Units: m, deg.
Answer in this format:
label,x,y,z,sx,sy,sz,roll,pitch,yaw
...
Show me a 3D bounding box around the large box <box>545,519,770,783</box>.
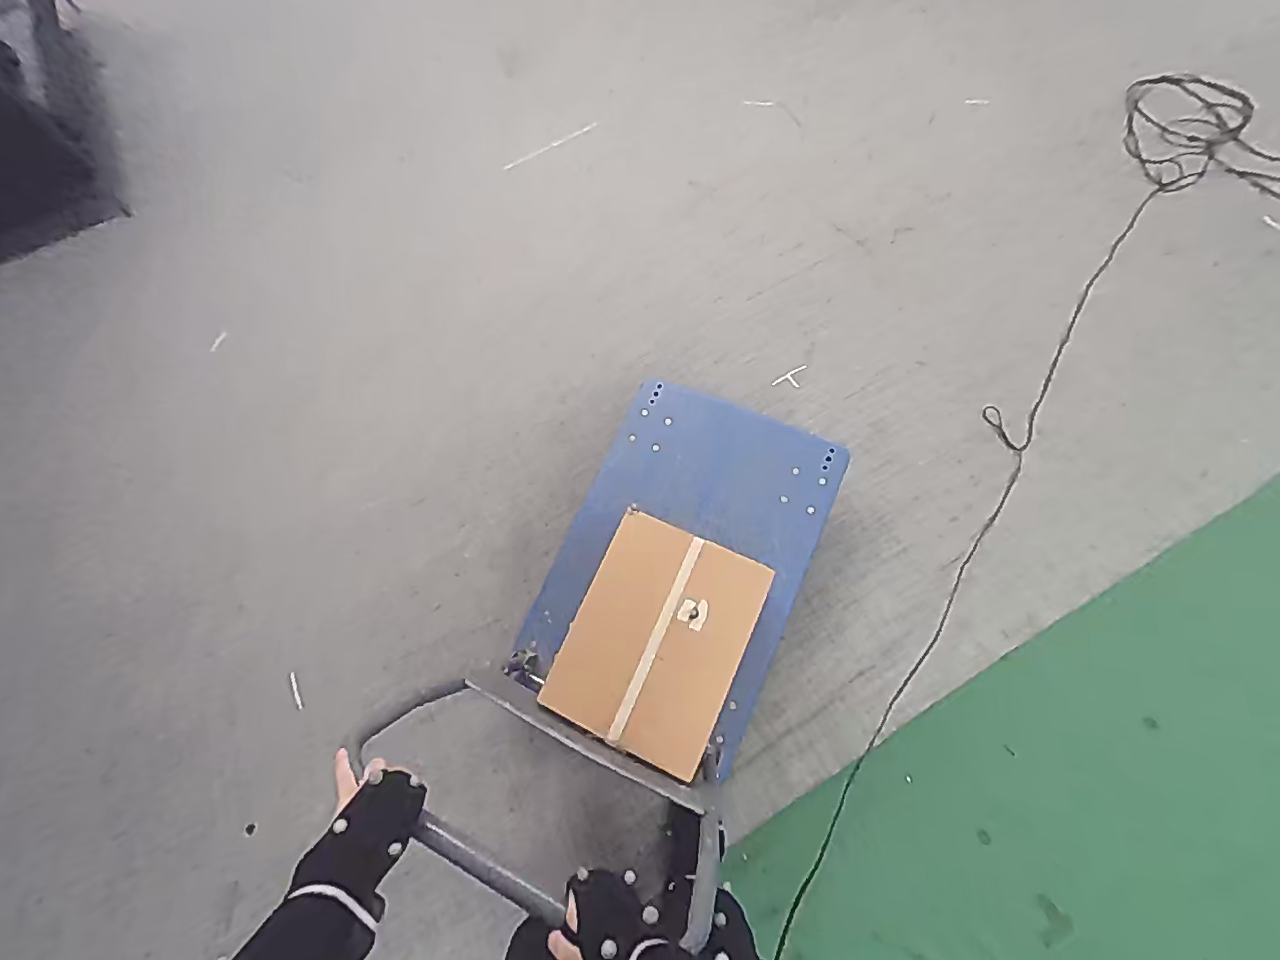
label,x,y,z,sx,sy,sz,roll,pitch,yaw
large box,0.051,0.352,1.167,0.320,0.320,0.408,23,77,12
